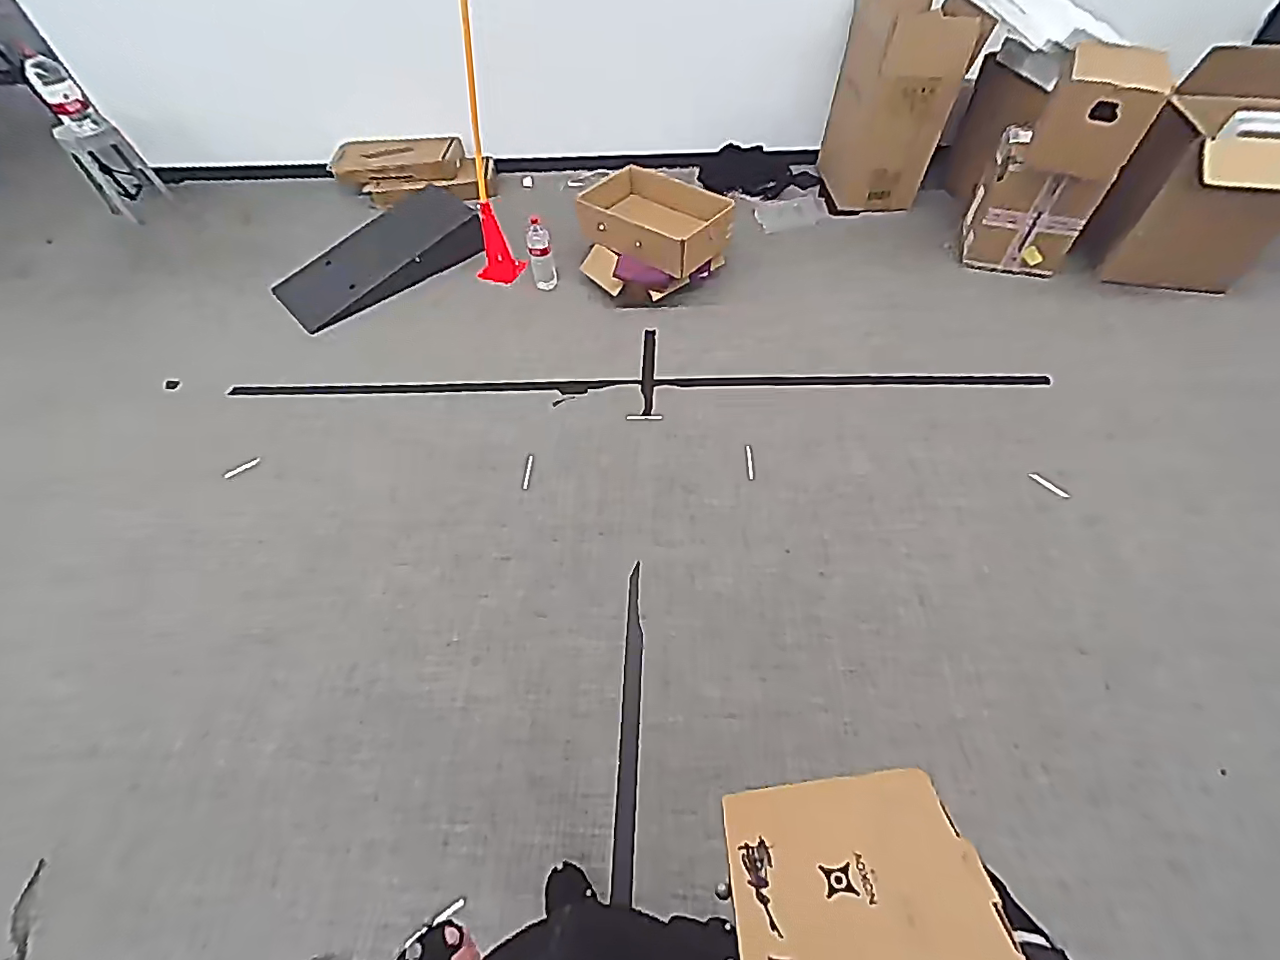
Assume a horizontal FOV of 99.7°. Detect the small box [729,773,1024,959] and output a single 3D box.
[{"bbox_3d":[0.176,0.371,0.428,0.179,0.176,0.168,-11,19,7],"label":"small box"}]
